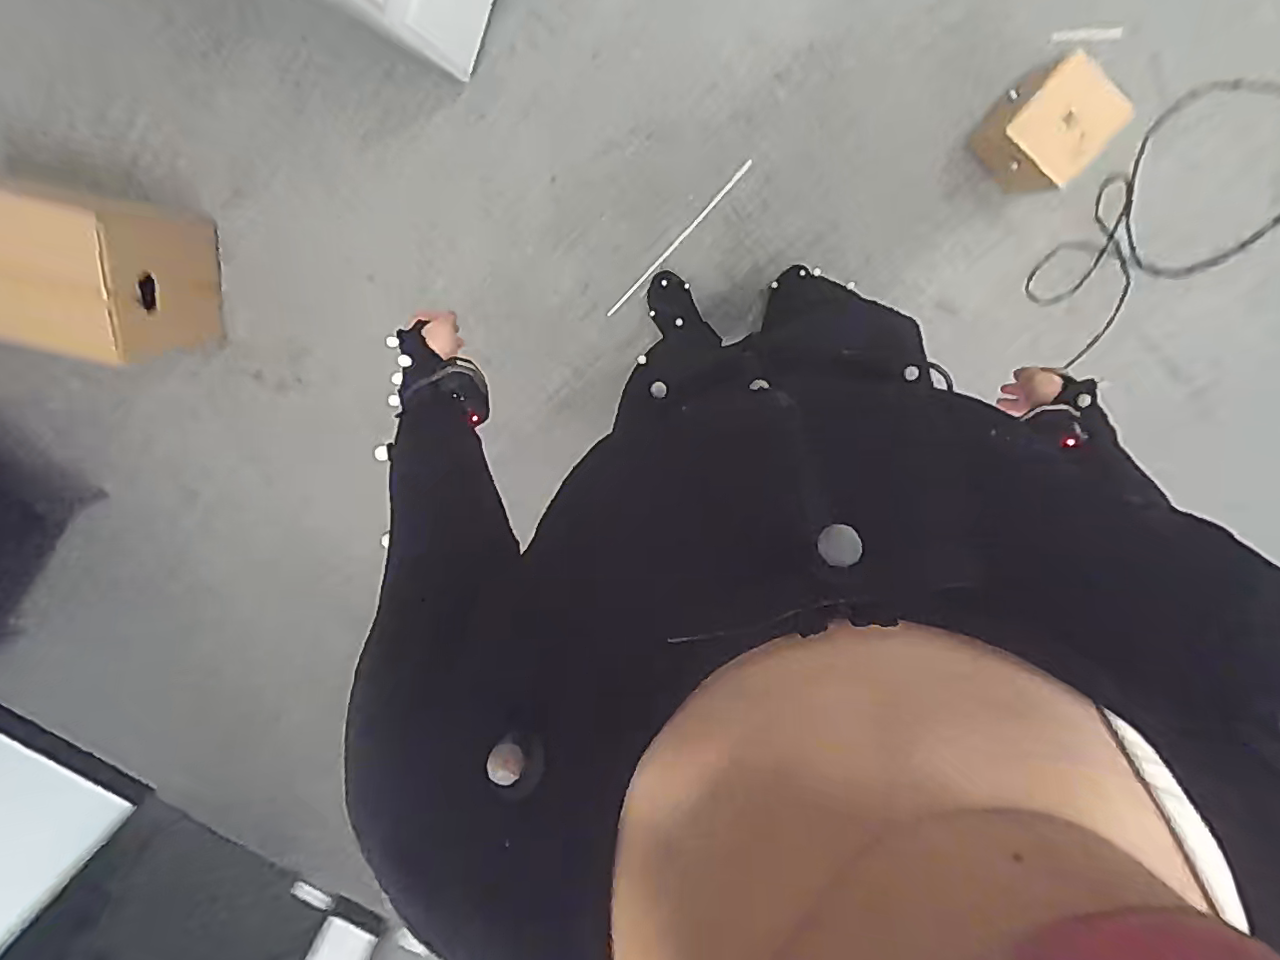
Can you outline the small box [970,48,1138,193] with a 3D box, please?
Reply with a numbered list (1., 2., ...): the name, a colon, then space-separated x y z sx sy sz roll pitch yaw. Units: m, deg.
1. small box: 0.822 -0.709 1.096 0.179 0.176 0.168 34 112 -11
